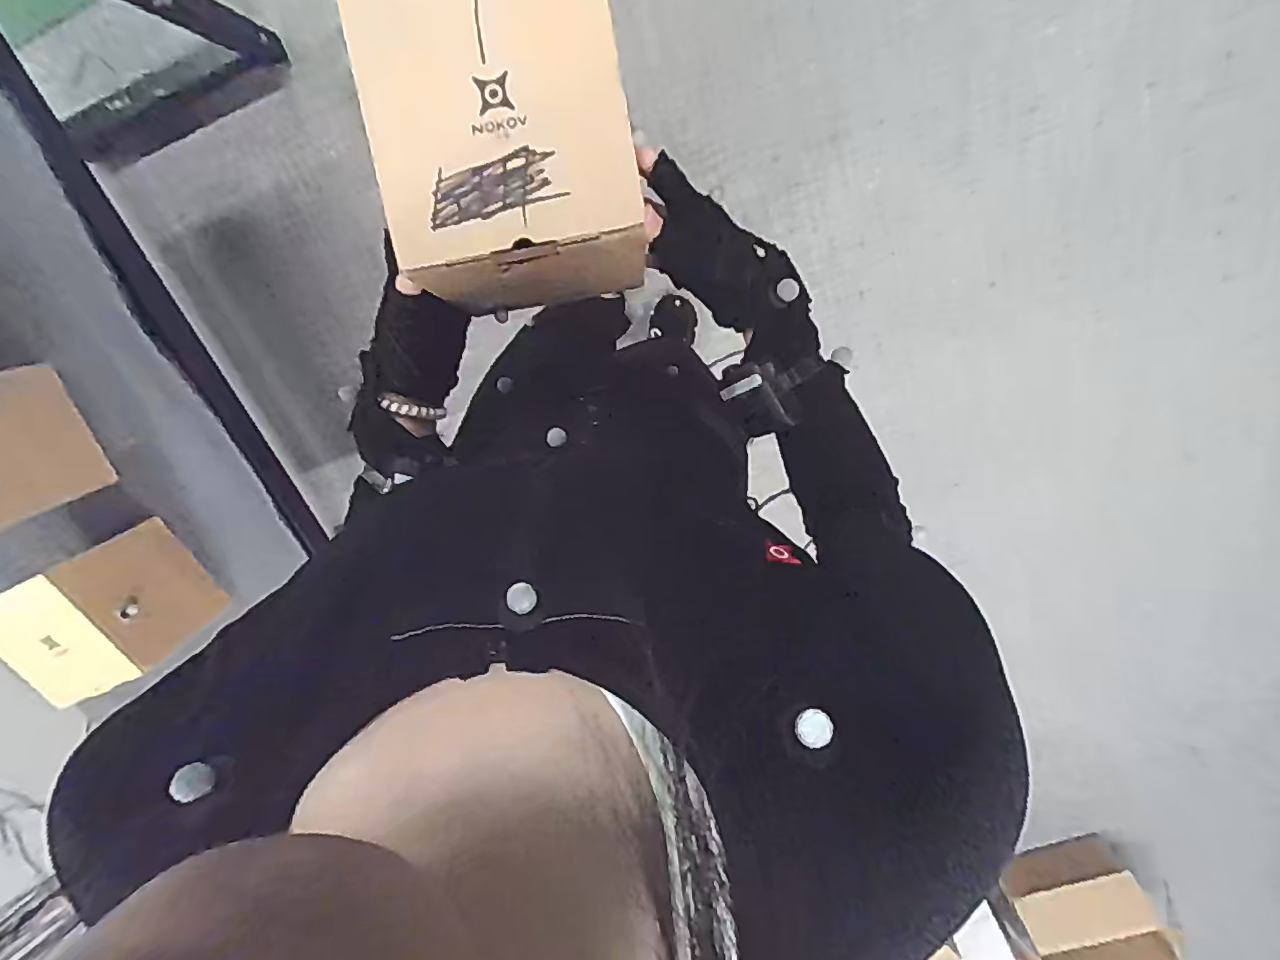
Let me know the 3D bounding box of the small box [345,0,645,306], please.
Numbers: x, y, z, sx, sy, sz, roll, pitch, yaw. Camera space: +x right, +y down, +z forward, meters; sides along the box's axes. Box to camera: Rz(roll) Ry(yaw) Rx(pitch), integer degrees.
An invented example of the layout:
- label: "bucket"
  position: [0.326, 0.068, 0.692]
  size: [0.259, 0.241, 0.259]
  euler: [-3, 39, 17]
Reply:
- label: "small box"
  position: [-0.088, -0.242, 0.417]
  size: [0.168, 0.176, 0.179]
  euler: [-10, 96, 0]

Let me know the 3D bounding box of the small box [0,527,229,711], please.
- label: "small box"
  position: [-0.764, 0.188, 0.779]
  size: [0.168, 0.176, 0.179]
  euler: [-23, 110, 11]
